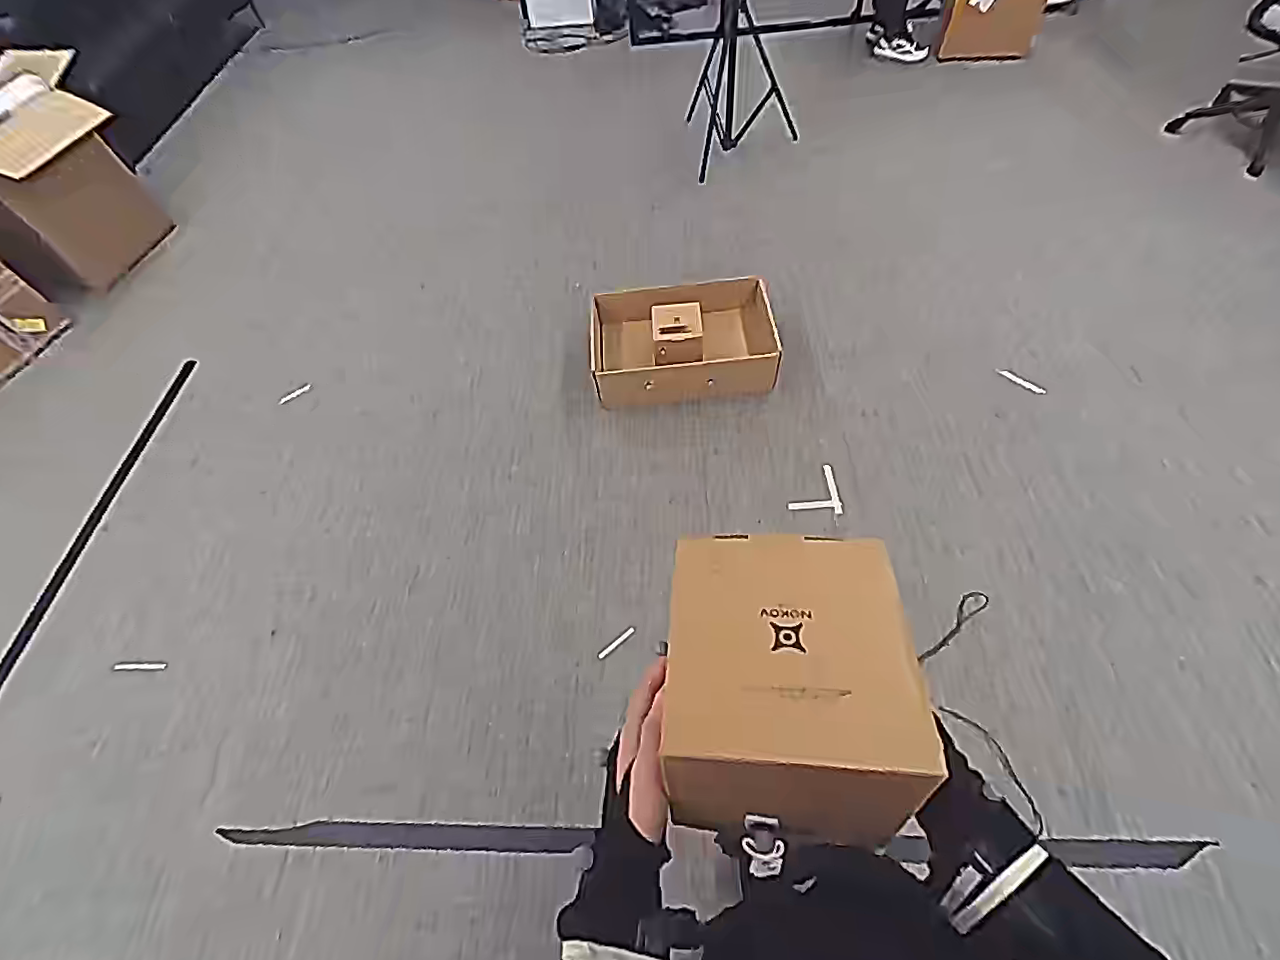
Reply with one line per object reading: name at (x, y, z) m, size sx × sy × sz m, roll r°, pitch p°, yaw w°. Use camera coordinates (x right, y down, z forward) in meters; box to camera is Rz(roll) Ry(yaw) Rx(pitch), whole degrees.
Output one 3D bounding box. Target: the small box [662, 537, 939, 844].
small box at (0.109, 0.166, 0.438) m, size 0.168 × 0.176 × 0.179 m, roll -1°, pitch 44°, yaw 8°
